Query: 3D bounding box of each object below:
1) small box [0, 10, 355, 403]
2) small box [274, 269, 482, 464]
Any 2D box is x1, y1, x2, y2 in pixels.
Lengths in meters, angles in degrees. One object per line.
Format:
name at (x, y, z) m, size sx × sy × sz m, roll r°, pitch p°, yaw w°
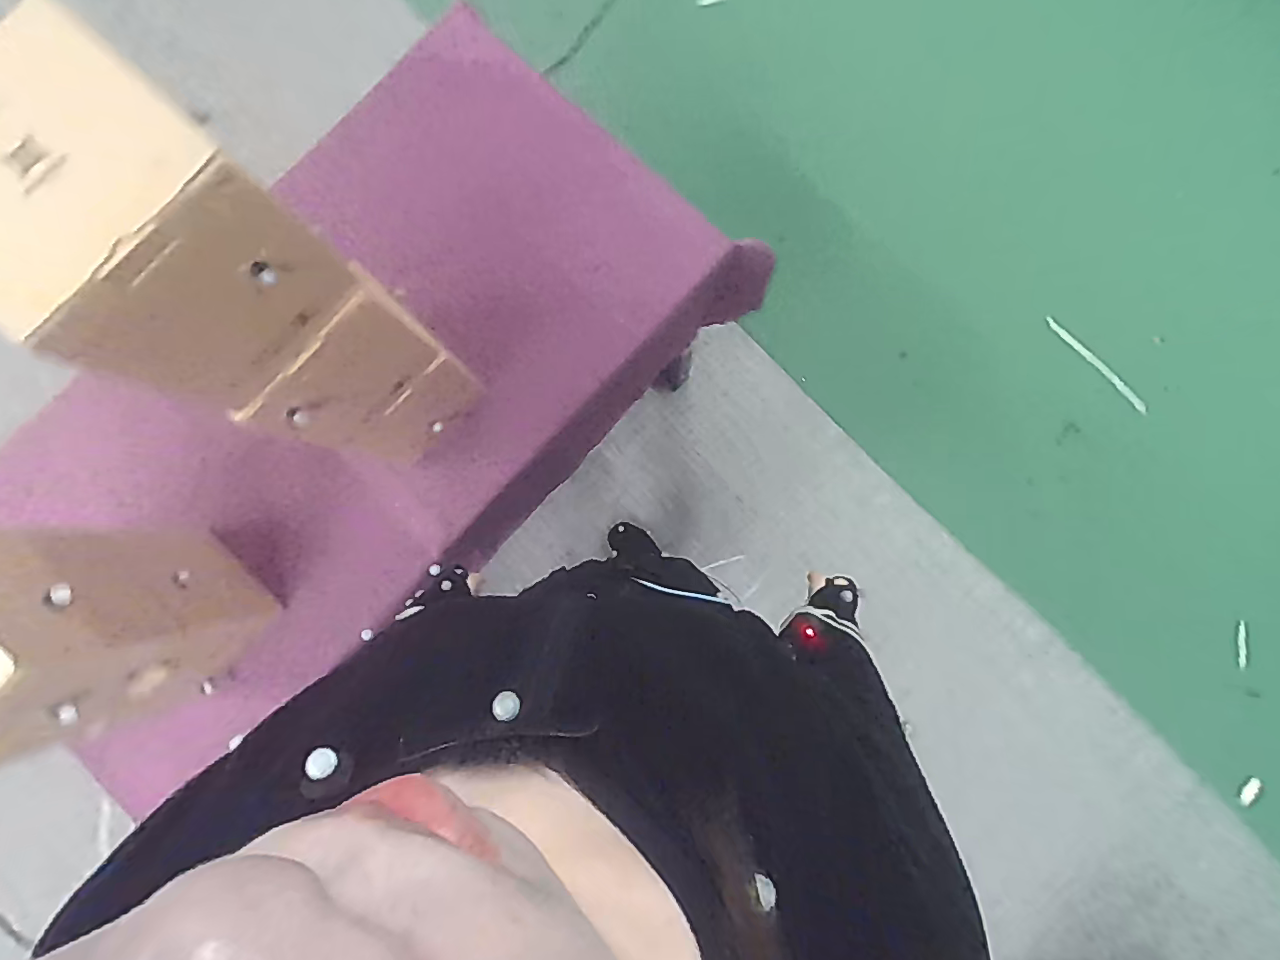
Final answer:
small box at (-0.367, -0.177, 0.413) m, size 0.179 × 0.176 × 0.168 m, roll 42°, pitch 86°, yaw 6°
small box at (-0.351, -0.140, 0.739) m, size 0.179 × 0.176 × 0.168 m, roll 44°, pitch 87°, yaw 5°
